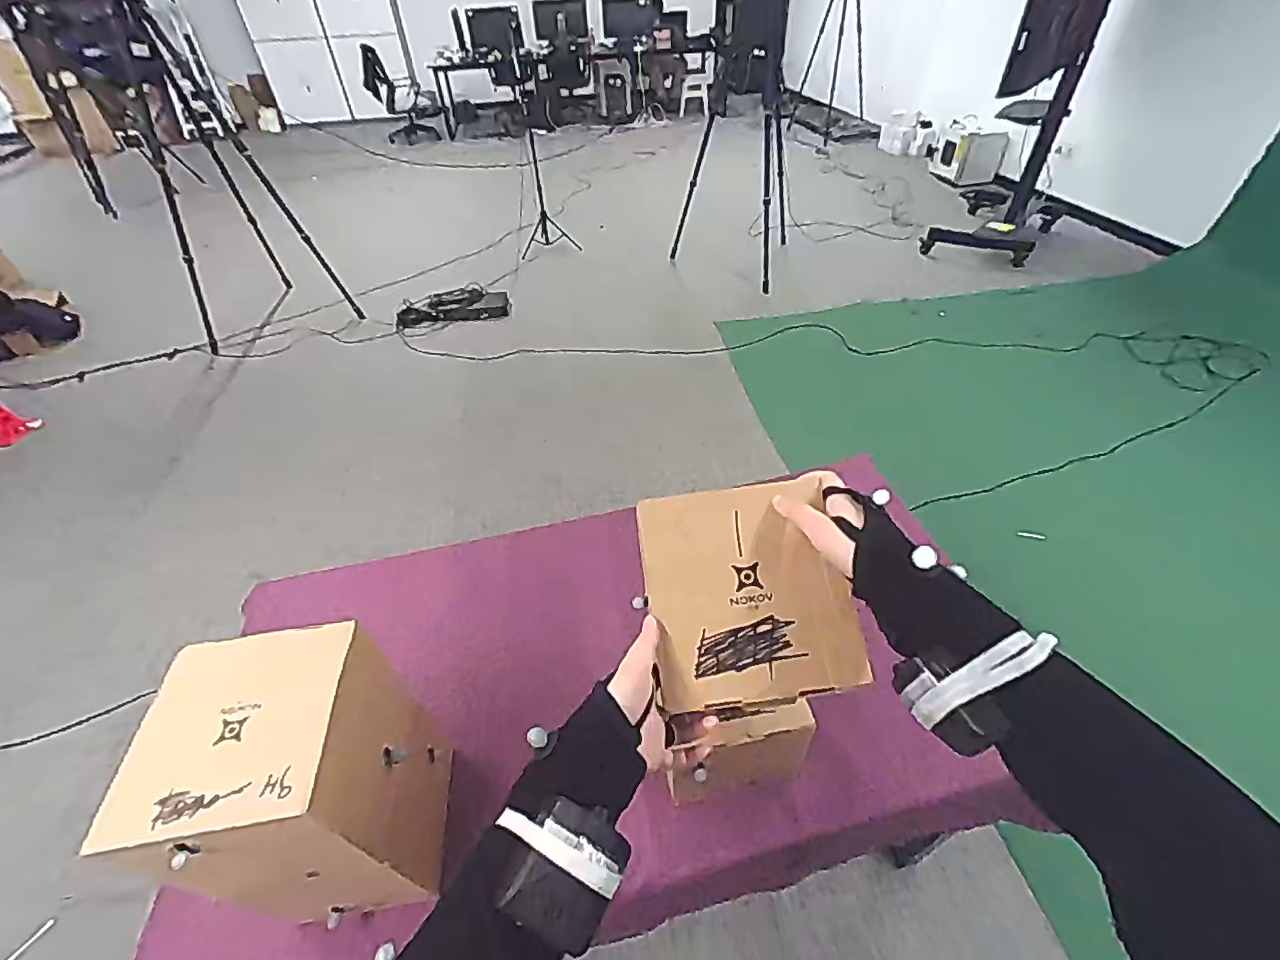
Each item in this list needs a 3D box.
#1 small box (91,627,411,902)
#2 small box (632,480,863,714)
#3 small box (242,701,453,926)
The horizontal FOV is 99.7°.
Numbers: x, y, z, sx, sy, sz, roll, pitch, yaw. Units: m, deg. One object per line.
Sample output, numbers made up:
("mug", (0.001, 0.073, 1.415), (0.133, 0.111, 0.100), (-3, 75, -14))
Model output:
("small box", (-0.341, 0.273, 0.526), (0.168, 0.176, 0.179), (-9, 42, -3))
("small box", (0.088, 0.119, 0.526), (0.168, 0.176, 0.179), (-9, 68, -1))
("small box", (-0.331, 0.393, 0.640), (0.168, 0.176, 0.179), (-9, 44, -4))
